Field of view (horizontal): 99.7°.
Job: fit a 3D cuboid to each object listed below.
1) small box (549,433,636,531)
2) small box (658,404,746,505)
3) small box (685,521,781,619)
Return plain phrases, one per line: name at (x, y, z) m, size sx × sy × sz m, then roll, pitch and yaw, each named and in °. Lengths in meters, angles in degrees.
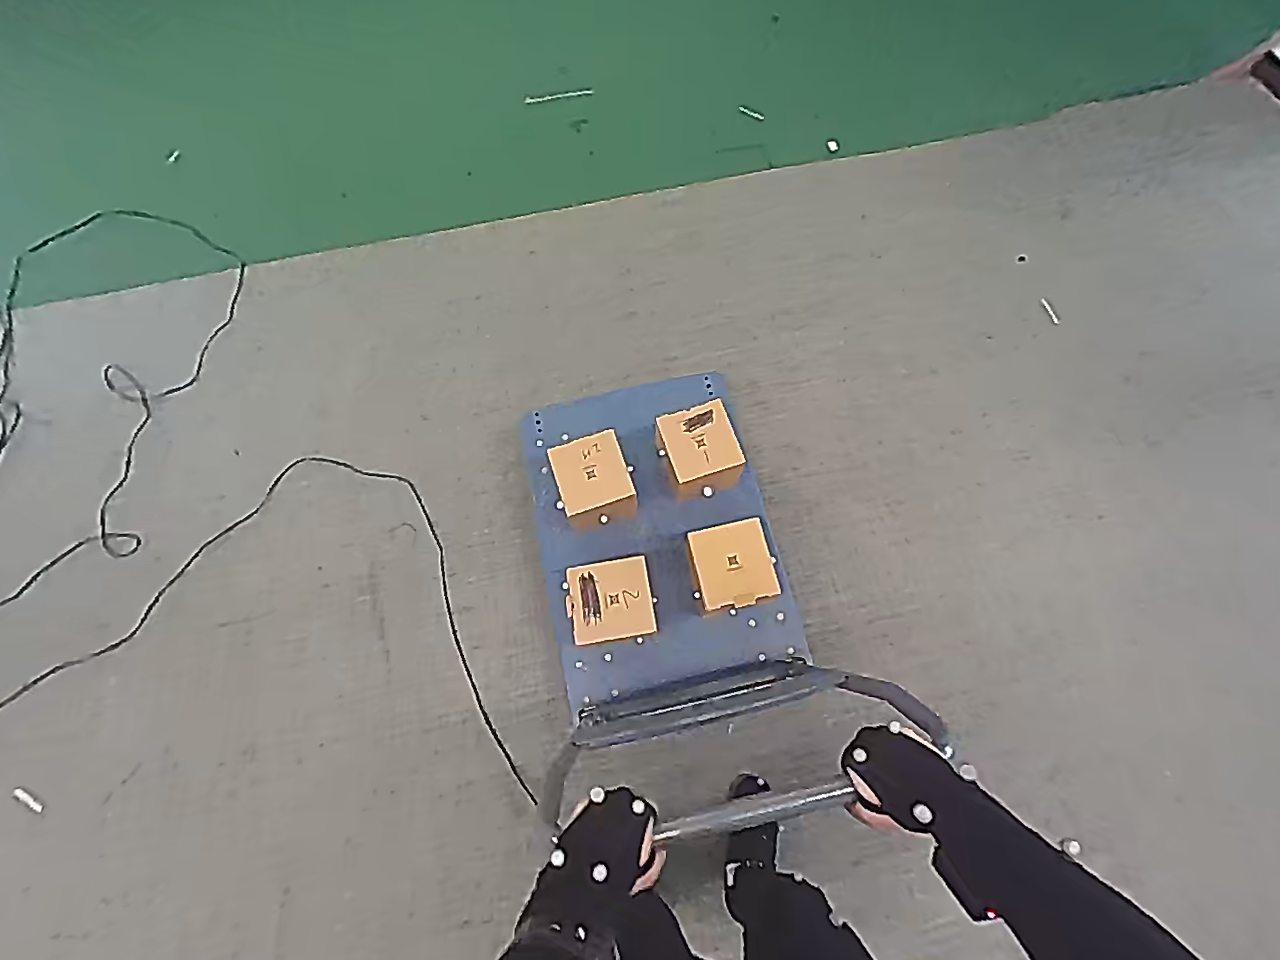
small box at (-0.110, 0.014, 1.324) m, size 0.168 × 0.176 × 0.179 m, roll -18°, pitch 71°, yaw -6°
small box at (0.145, -0.059, 1.345) m, size 0.168 × 0.176 × 0.179 m, roll -17°, pitch 72°, yaw -4°
small box at (0.205, 0.213, 1.249) m, size 0.168 × 0.176 × 0.179 m, roll -12°, pitch 71°, yaw -3°
